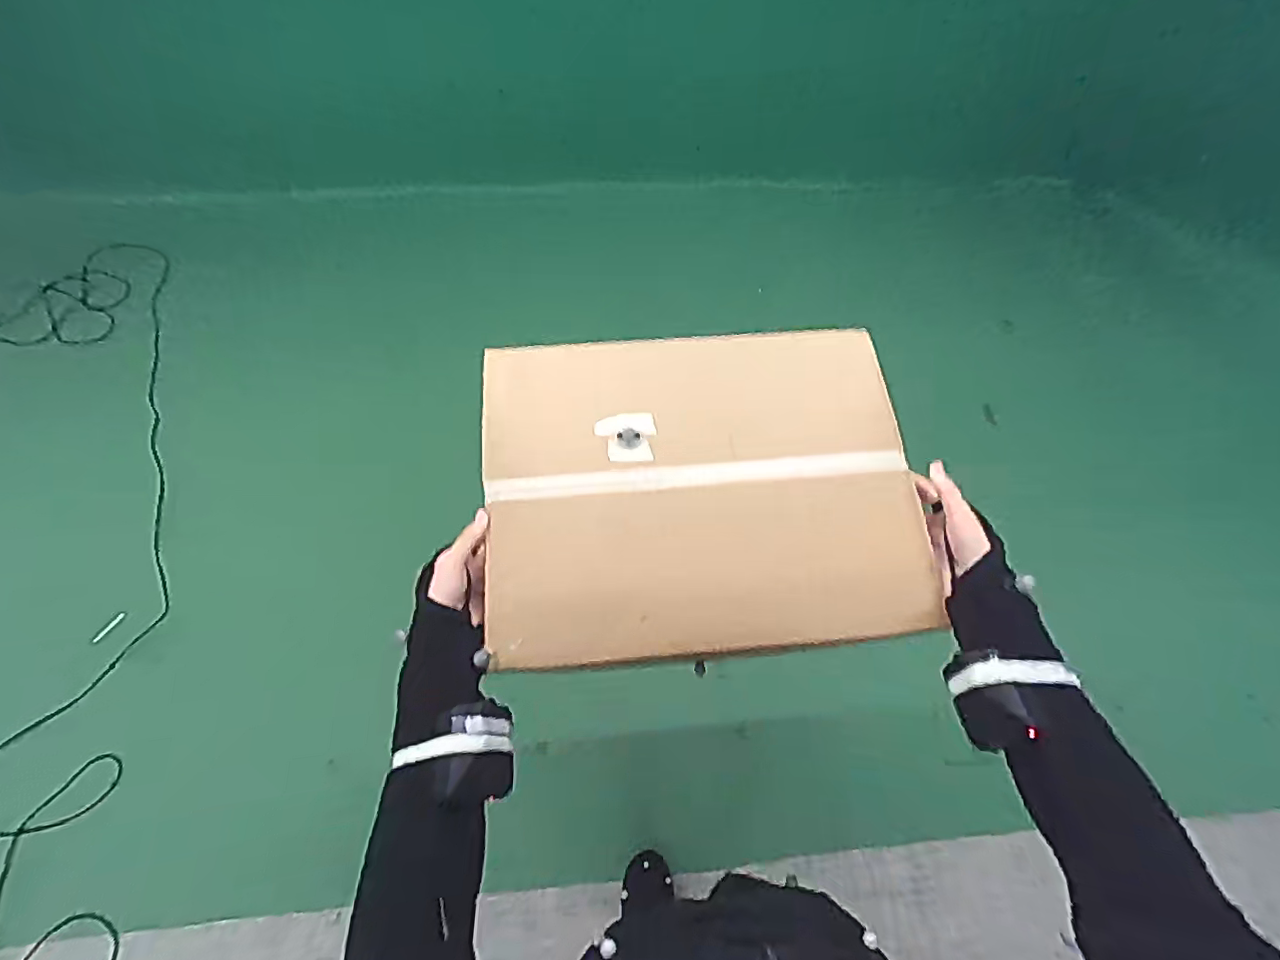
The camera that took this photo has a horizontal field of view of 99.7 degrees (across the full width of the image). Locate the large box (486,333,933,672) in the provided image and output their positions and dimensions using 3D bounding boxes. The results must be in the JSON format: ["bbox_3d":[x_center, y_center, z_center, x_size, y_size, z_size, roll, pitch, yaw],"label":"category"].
[{"bbox_3d":[0.051,0.053,0.664,0.408,0.320,0.320,-5,69,-3],"label":"large box"}]
